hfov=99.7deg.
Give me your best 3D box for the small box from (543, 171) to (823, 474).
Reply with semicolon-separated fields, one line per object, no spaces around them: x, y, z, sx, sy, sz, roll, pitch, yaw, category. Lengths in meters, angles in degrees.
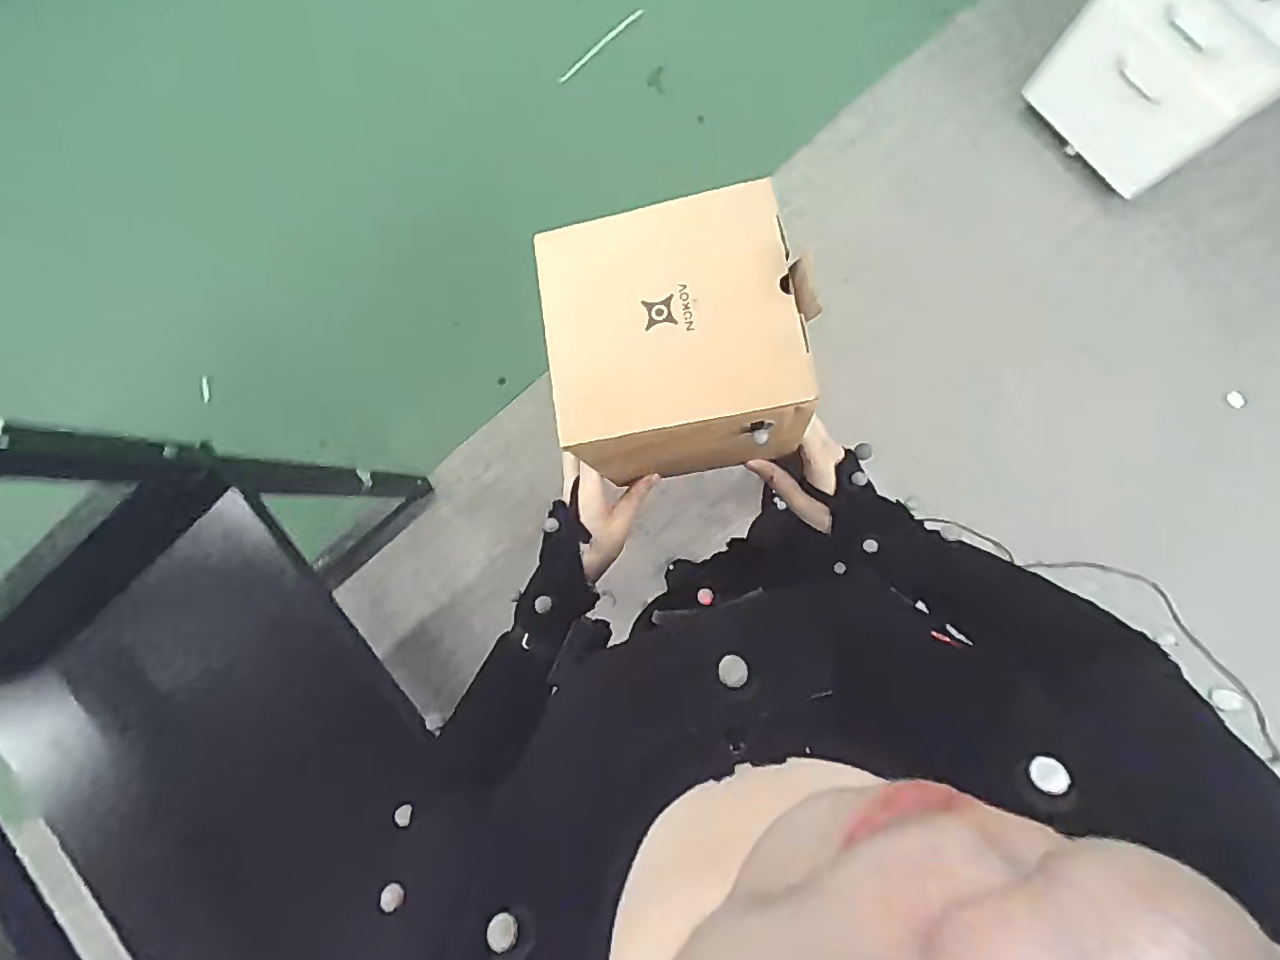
0.036;-0.107;0.445;0.179;0.176;0.168;-9;79;8;small box
